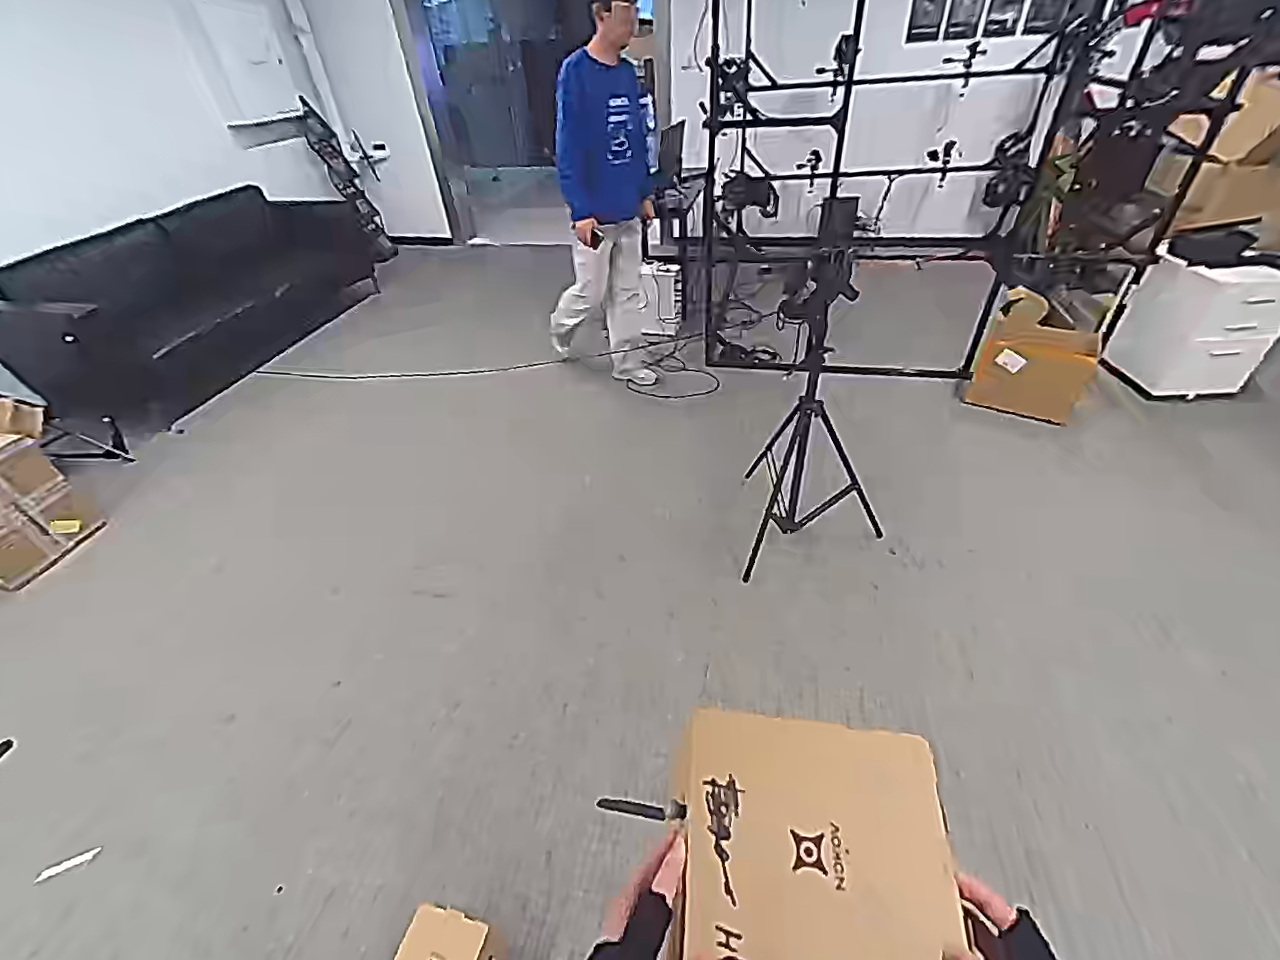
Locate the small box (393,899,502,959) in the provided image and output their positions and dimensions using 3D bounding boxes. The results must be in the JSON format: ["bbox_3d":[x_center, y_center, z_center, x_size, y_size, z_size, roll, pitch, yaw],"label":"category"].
[{"bbox_3d":[-0.402,1.013,1.113,0.168,0.176,0.179,6,41,15],"label":"small box"}]

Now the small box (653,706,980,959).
[{"bbox_3d":[0.111,0.289,0.402,0.179,0.176,0.168,7,49,1],"label":"small box"}]
